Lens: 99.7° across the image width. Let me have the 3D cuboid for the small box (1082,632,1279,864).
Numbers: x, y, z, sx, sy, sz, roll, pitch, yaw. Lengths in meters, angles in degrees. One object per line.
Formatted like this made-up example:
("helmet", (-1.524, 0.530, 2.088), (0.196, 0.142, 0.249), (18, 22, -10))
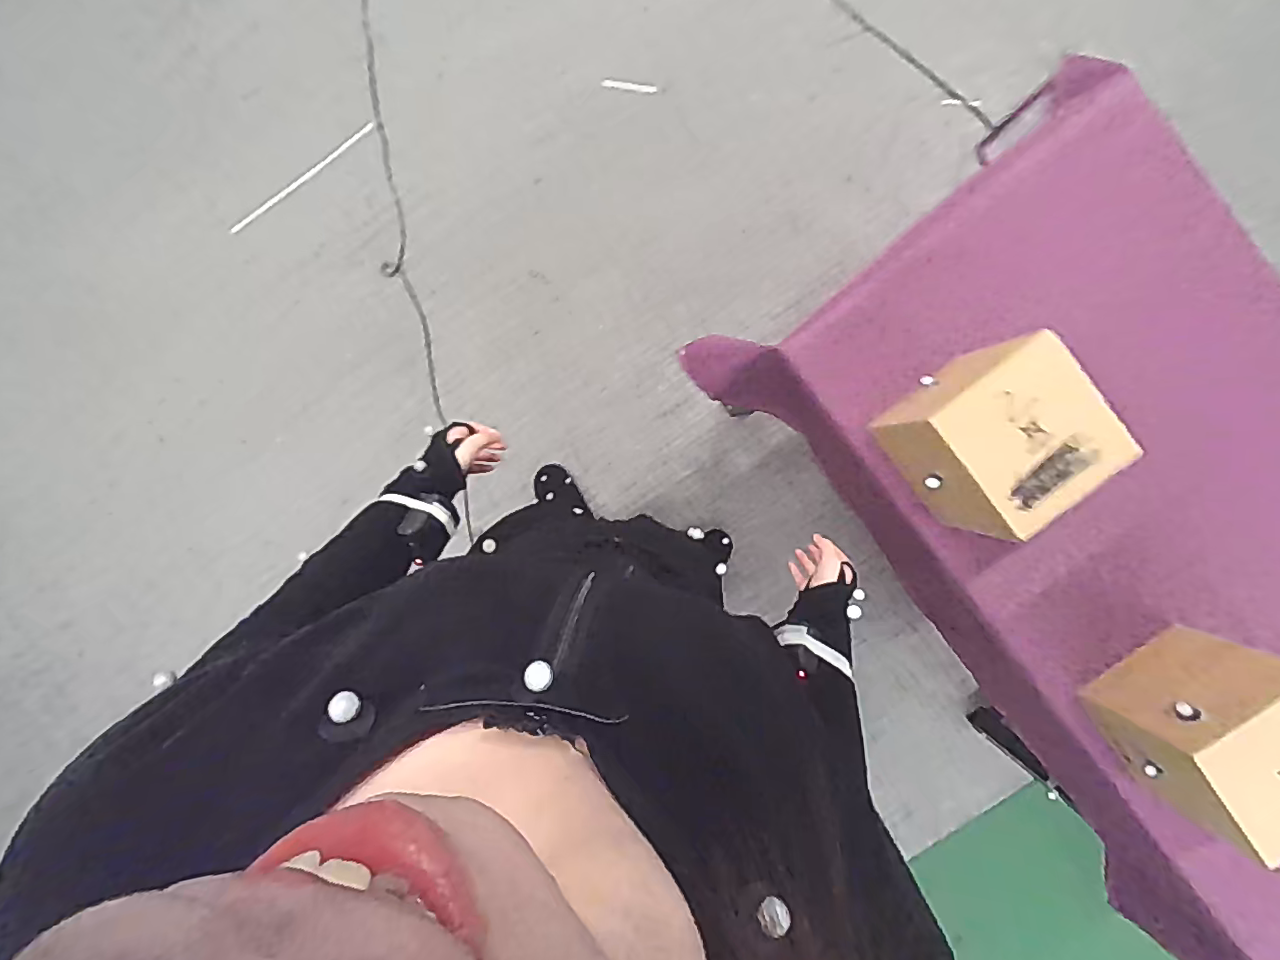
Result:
("small box", (0.734, 0.331, 0.703), (0.179, 0.176, 0.168), (-35, 93, 1))
